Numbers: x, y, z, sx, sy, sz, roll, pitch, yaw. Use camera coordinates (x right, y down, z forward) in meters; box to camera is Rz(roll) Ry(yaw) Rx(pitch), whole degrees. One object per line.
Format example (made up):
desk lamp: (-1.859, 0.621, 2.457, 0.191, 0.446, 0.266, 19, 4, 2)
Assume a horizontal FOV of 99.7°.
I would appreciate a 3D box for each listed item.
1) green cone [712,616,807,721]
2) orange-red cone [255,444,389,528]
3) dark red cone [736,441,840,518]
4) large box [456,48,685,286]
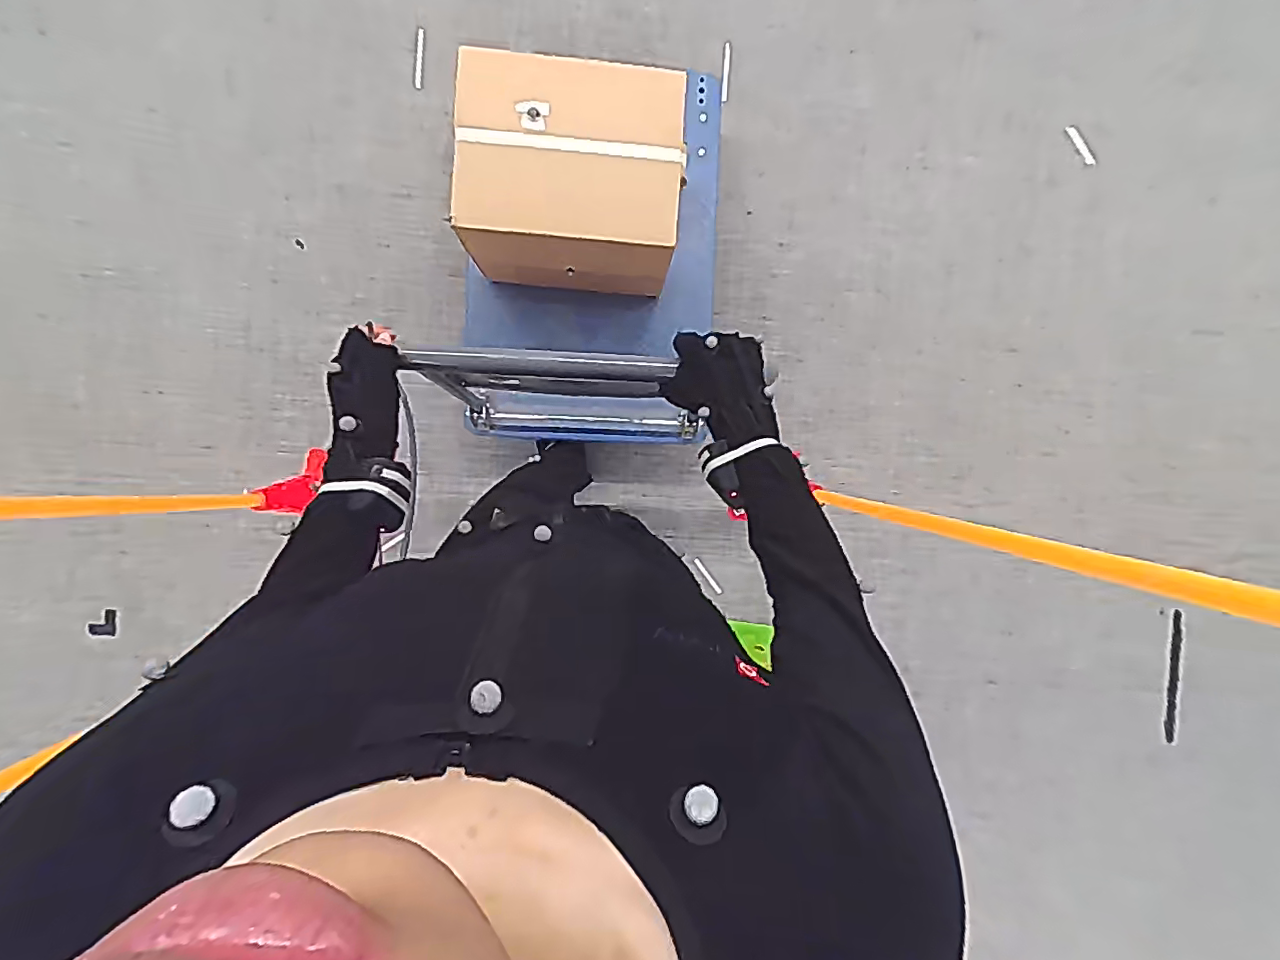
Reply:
green cone: (0.318, 0.487, 1.321, 0.202, 0.368, 0.200, 7, 92, -4)
orange-red cone: (-0.763, 0.020, 1.252, 0.198, 0.360, 0.199, 11, 90, -4)
dark red cone: (0.371, 0.006, 1.288, 0.201, 0.394, 0.202, 4, 92, -5)
large box: (-0.128, -0.605, 1.112, 0.408, 0.320, 0.320, 4, 92, -3)
